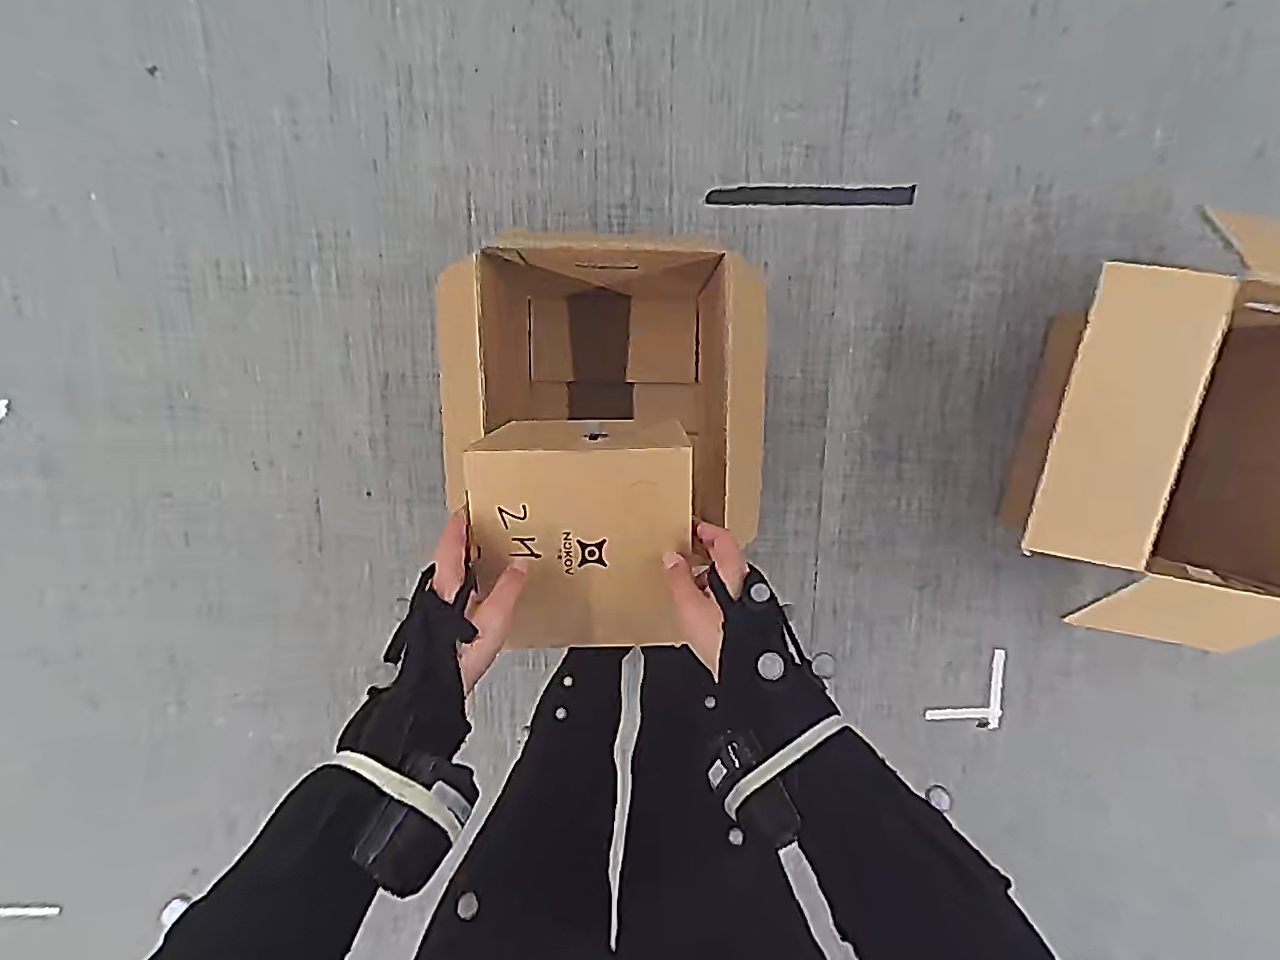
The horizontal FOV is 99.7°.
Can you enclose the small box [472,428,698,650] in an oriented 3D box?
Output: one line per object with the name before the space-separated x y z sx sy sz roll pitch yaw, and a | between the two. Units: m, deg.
small box | -0.043 0.042 0.509 0.179 0.176 0.168 -1 102 0
